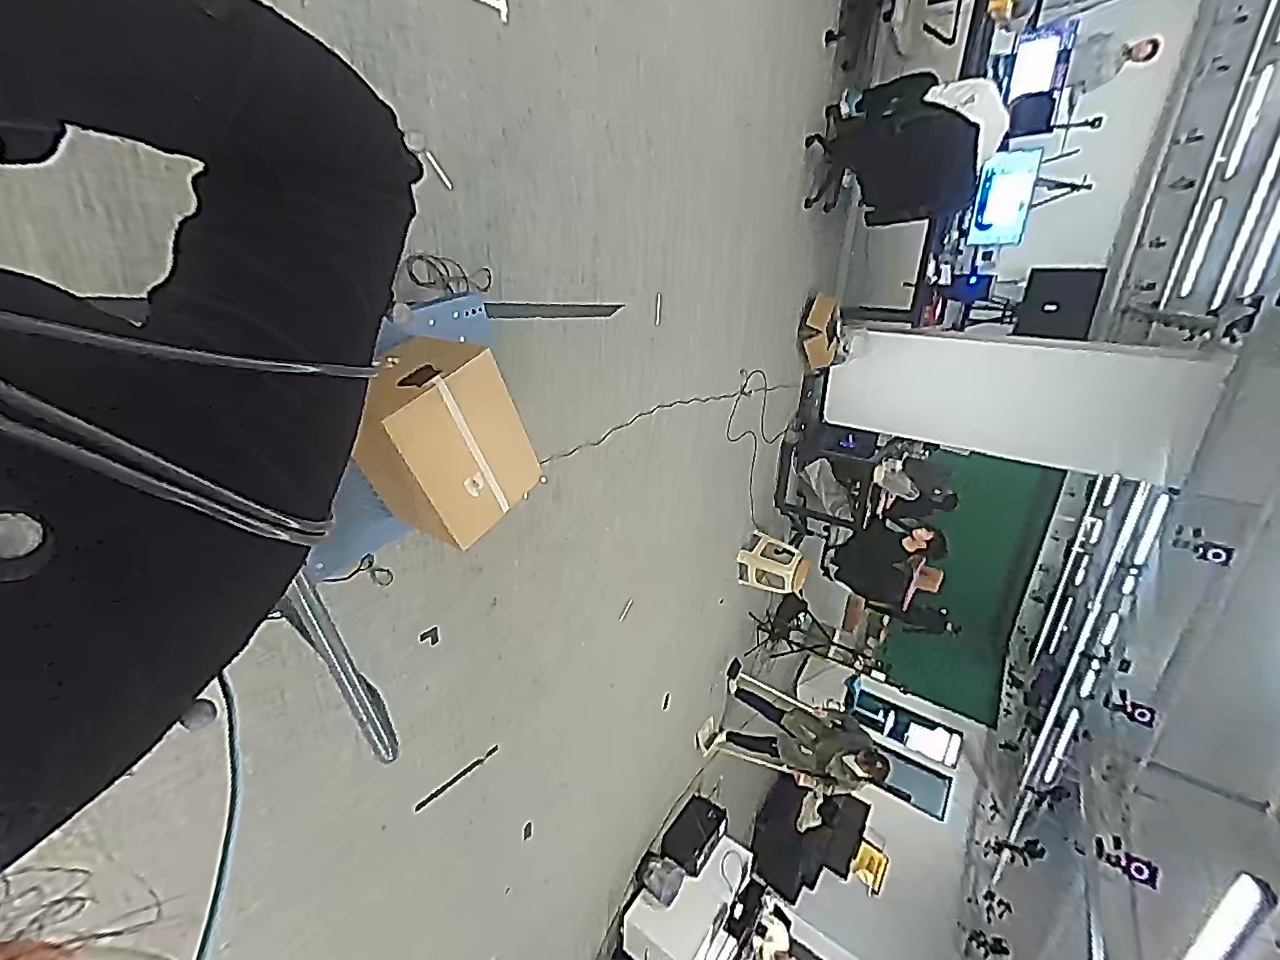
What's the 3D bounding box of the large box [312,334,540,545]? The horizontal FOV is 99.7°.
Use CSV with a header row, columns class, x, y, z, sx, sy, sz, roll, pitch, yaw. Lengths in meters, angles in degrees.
class,x,y,z,sx,sy,sz,roll,pitch,yaw
large box,-0.523,-0.110,1.377,0.320,0.320,0.408,-48,140,-33
